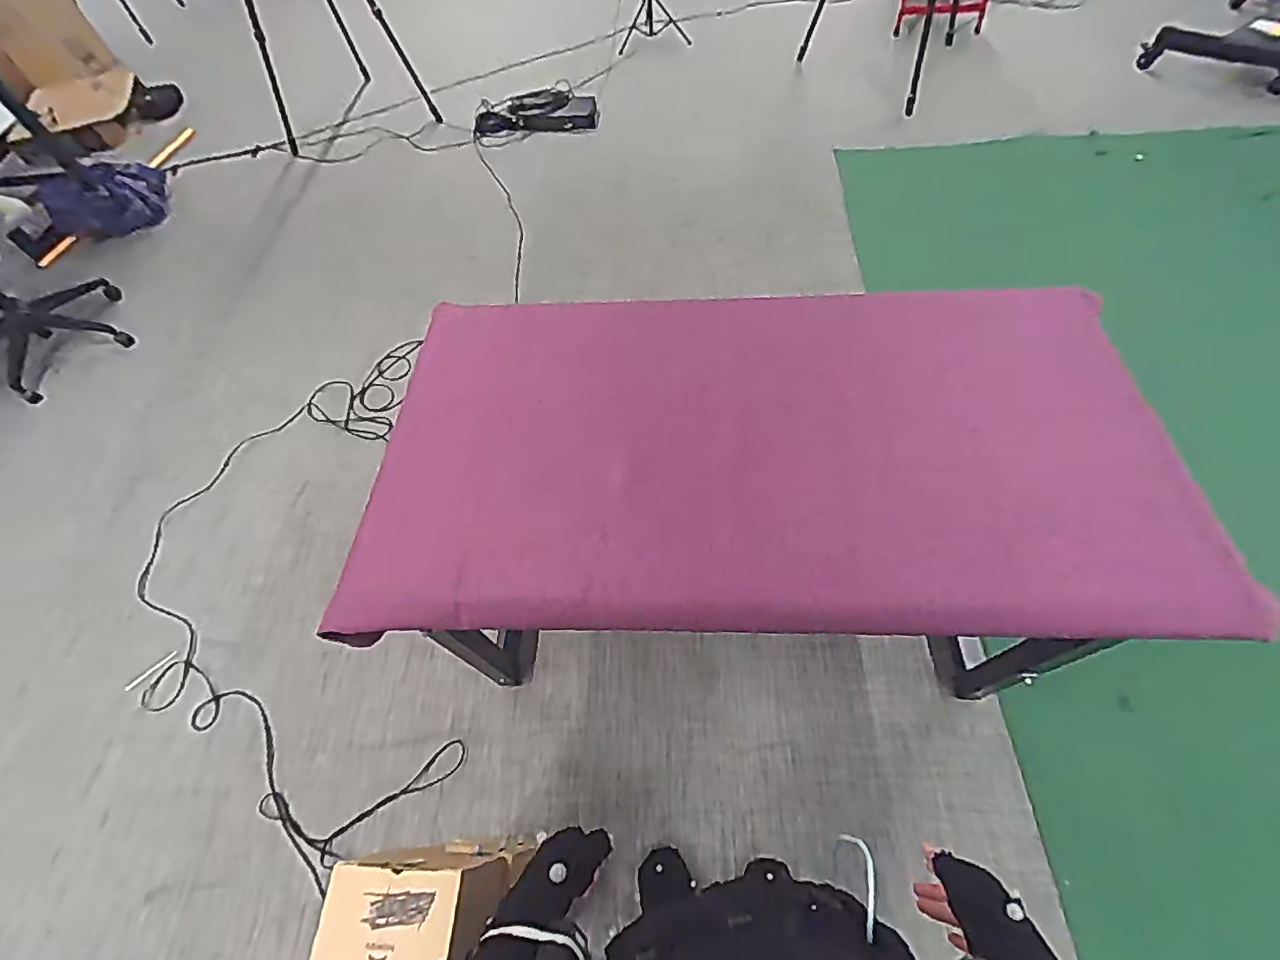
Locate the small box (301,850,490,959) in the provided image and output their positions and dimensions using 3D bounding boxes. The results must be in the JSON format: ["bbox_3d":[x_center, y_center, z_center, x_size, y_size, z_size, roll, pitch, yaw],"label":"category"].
[{"bbox_3d":[-0.303,0.587,0.687,0.168,0.176,0.179,1,61,5],"label":"small box"}]
